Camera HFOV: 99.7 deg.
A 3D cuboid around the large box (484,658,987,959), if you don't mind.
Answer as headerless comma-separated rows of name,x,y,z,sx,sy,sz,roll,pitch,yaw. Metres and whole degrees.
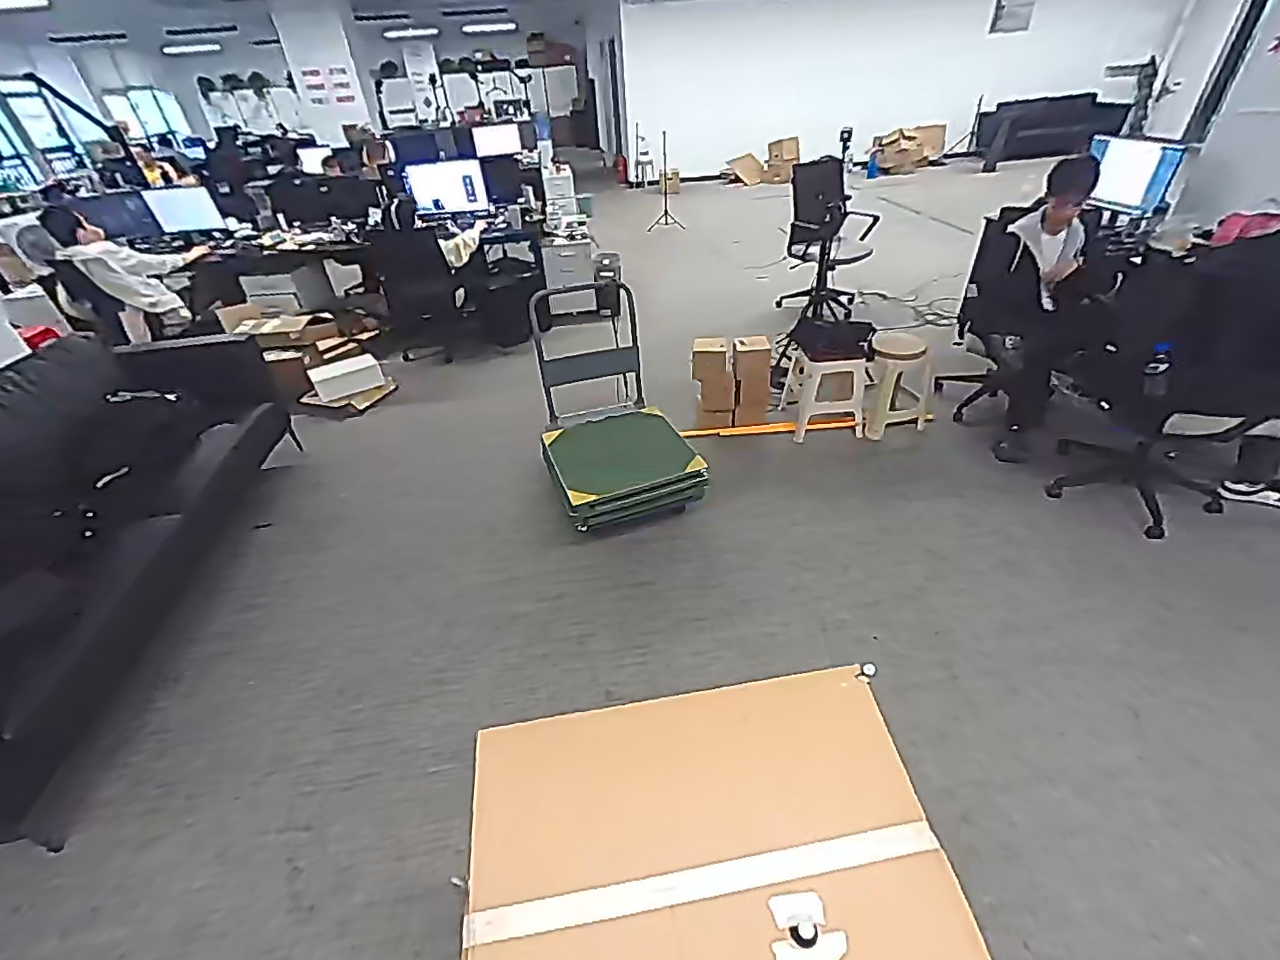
large box,0.067,0.435,0.585,0.408,0.320,0.320,-9,50,-5
